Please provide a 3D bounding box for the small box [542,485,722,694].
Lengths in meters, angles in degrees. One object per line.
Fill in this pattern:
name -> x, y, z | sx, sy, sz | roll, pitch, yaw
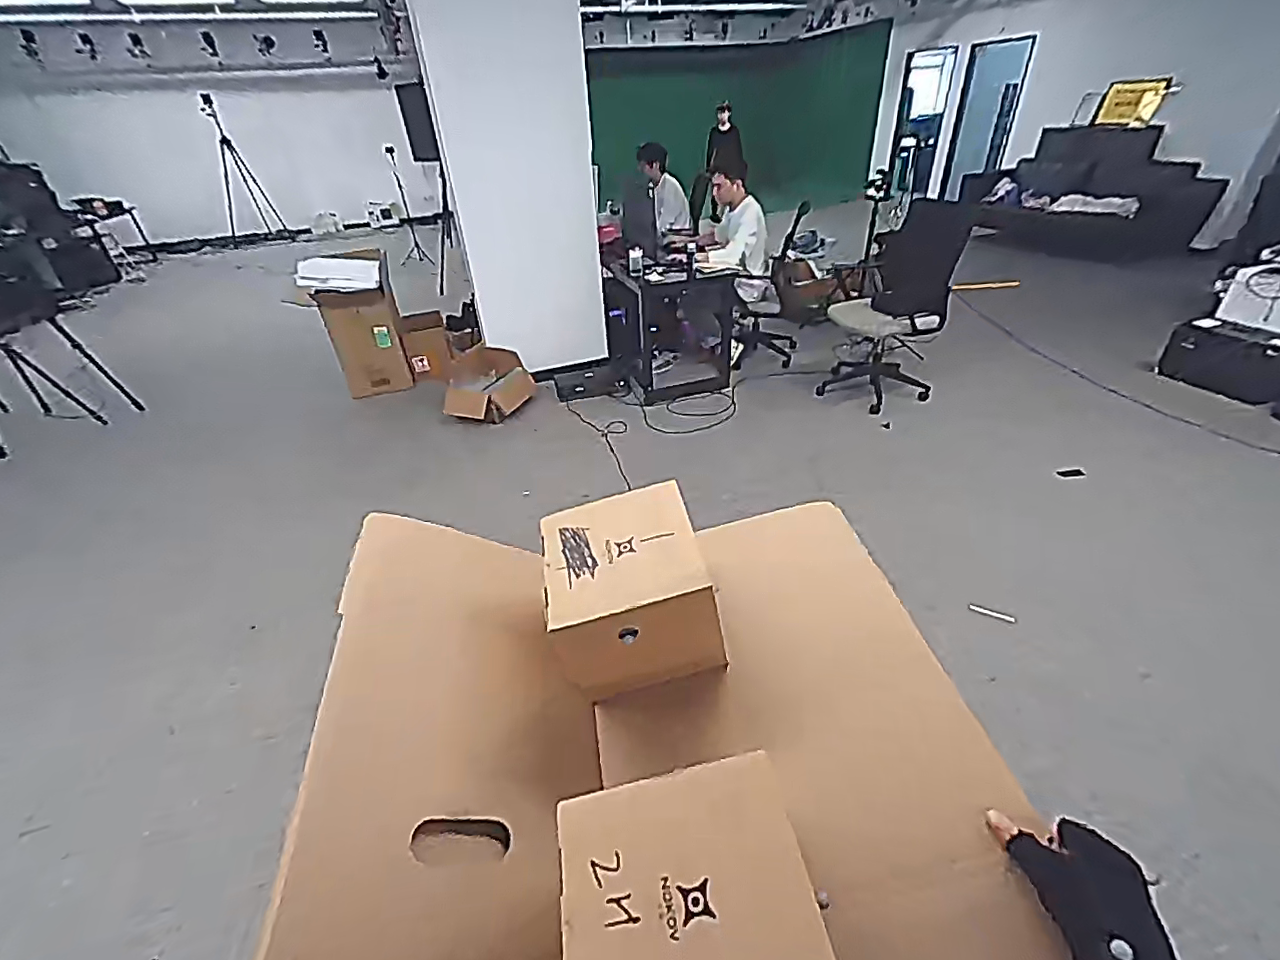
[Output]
small box -> -0.009, 0.139, 0.671 | 0.179, 0.176, 0.168 | -16, 43, 0

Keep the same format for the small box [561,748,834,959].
small box -> 0.047, 0.347, 0.437 | 0.179, 0.176, 0.168 | -15, 43, 2
